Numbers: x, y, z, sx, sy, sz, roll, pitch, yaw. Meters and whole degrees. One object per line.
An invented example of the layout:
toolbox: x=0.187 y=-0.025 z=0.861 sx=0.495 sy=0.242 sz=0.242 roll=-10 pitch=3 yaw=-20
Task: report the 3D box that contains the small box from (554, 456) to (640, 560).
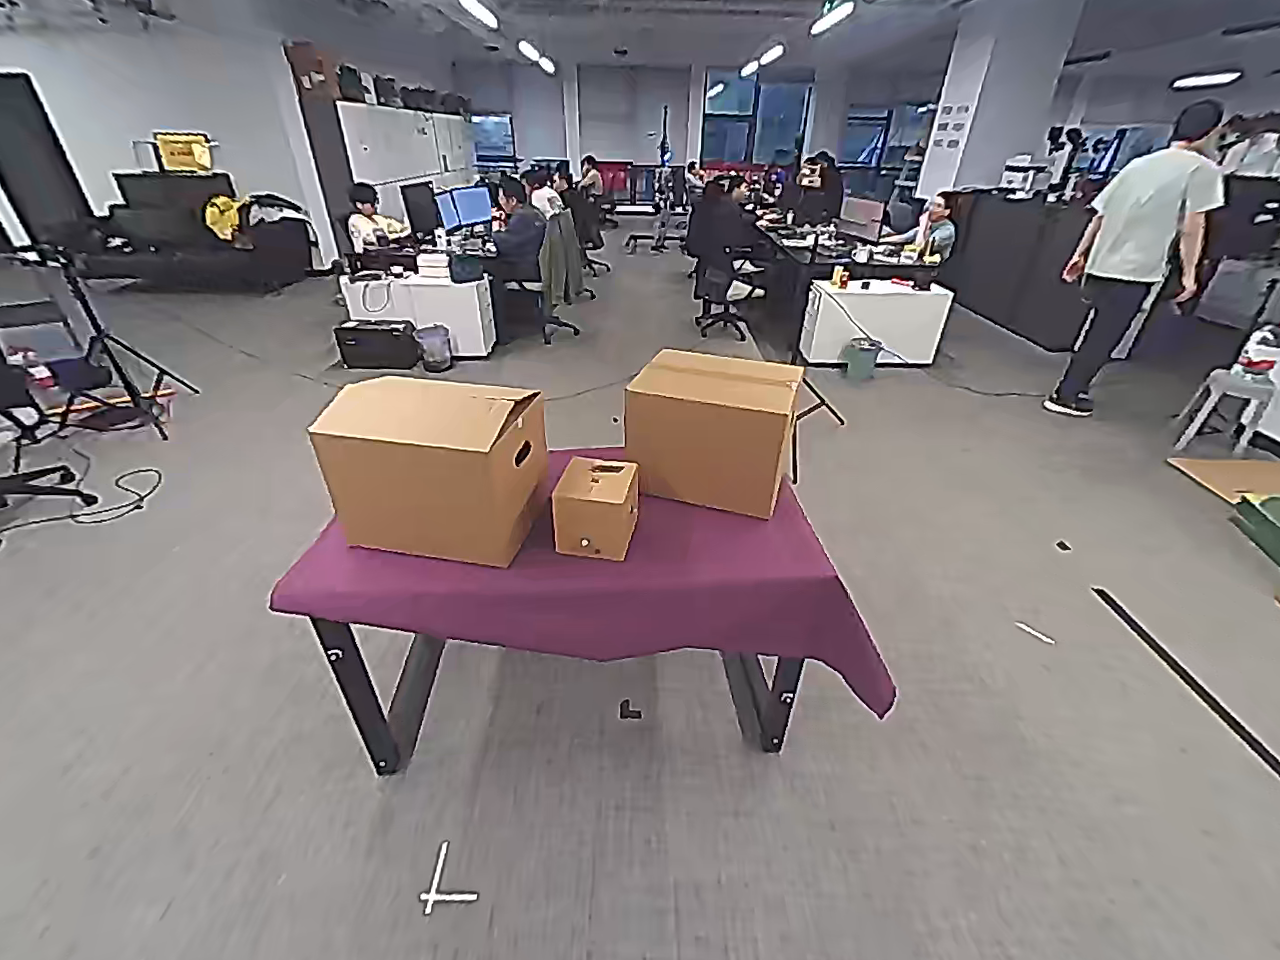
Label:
small box: x=-0.098 y=0.063 z=1.291 sx=0.168 sy=0.176 sz=0.179 roll=6 pitch=33 yaw=9
